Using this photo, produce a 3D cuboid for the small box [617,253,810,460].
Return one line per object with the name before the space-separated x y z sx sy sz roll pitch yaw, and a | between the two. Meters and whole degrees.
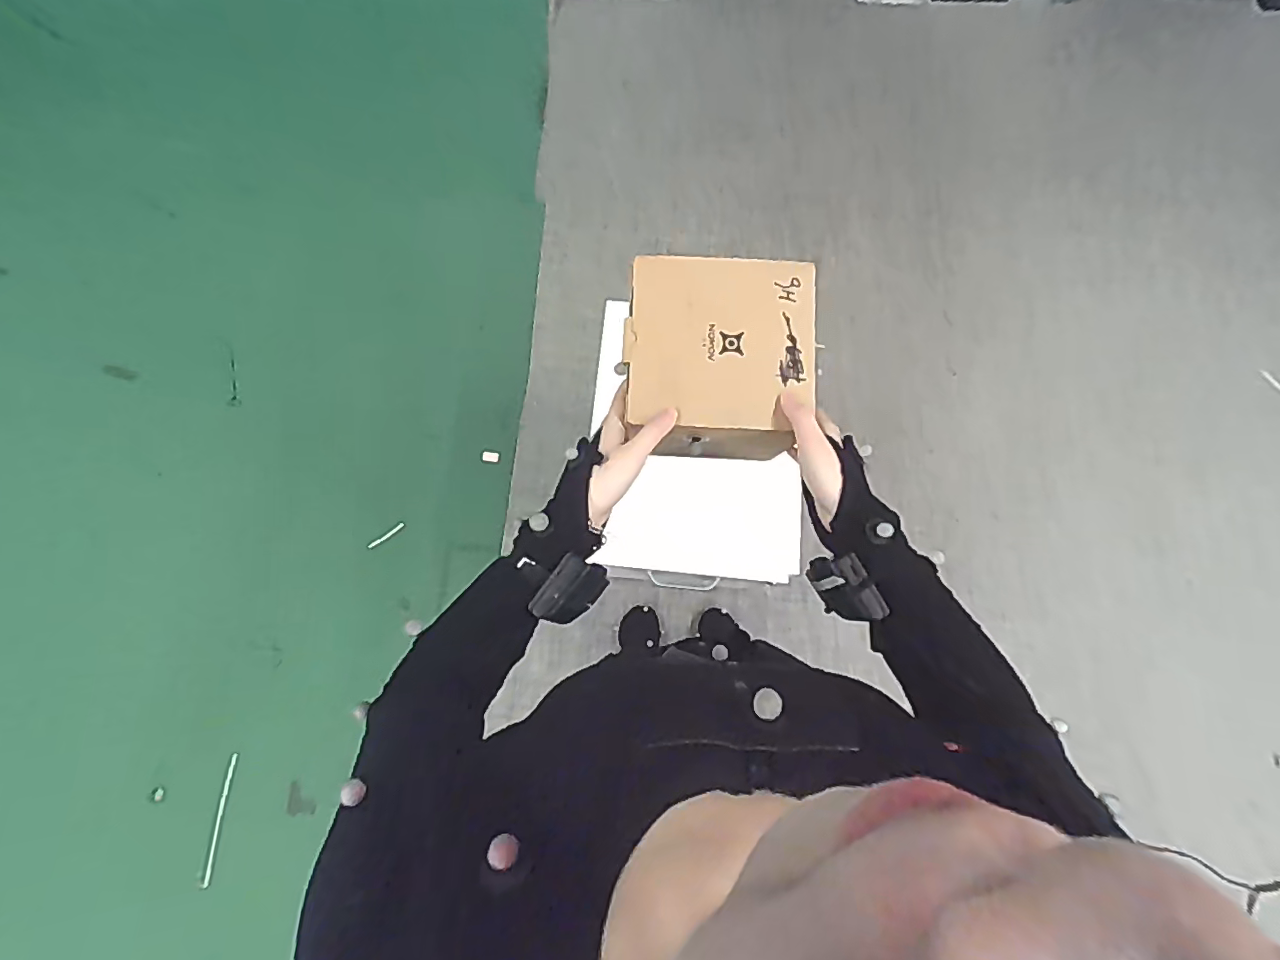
small box | 0.071 -0.119 0.579 0.179 0.176 0.168 3 82 0
